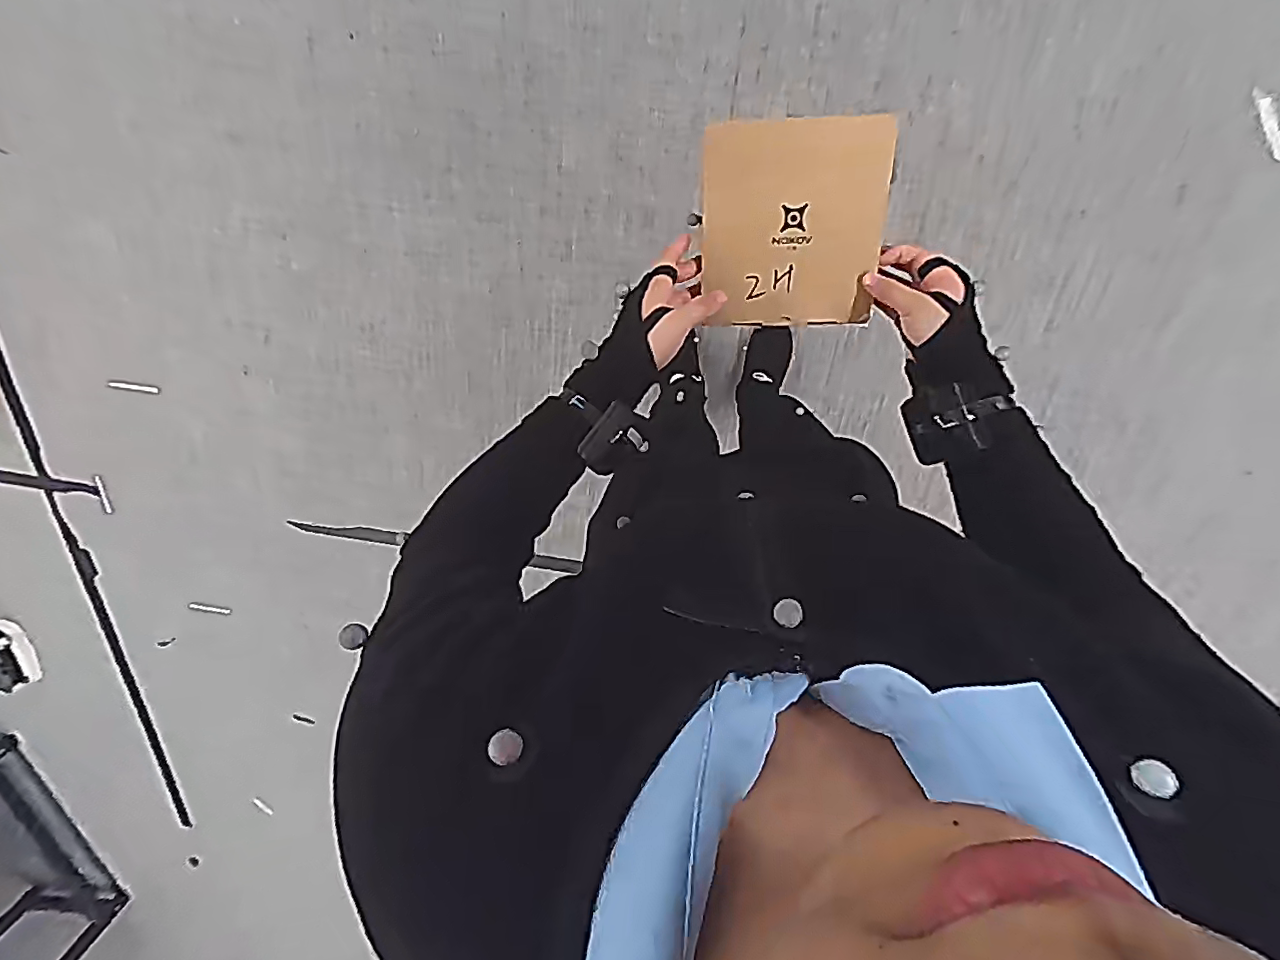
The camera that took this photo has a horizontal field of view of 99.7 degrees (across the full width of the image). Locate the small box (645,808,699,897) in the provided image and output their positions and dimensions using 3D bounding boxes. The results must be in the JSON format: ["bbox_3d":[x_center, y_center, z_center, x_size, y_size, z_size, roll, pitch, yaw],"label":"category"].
[{"bbox_3d":[0.108,1.227,1.785,0.168,0.176,0.179,3,114,5],"label":"small box"}]

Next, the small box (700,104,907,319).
[{"bbox_3d":[0.150,-0.269,0.564,0.168,0.176,0.179,1,116,5],"label":"small box"}]
